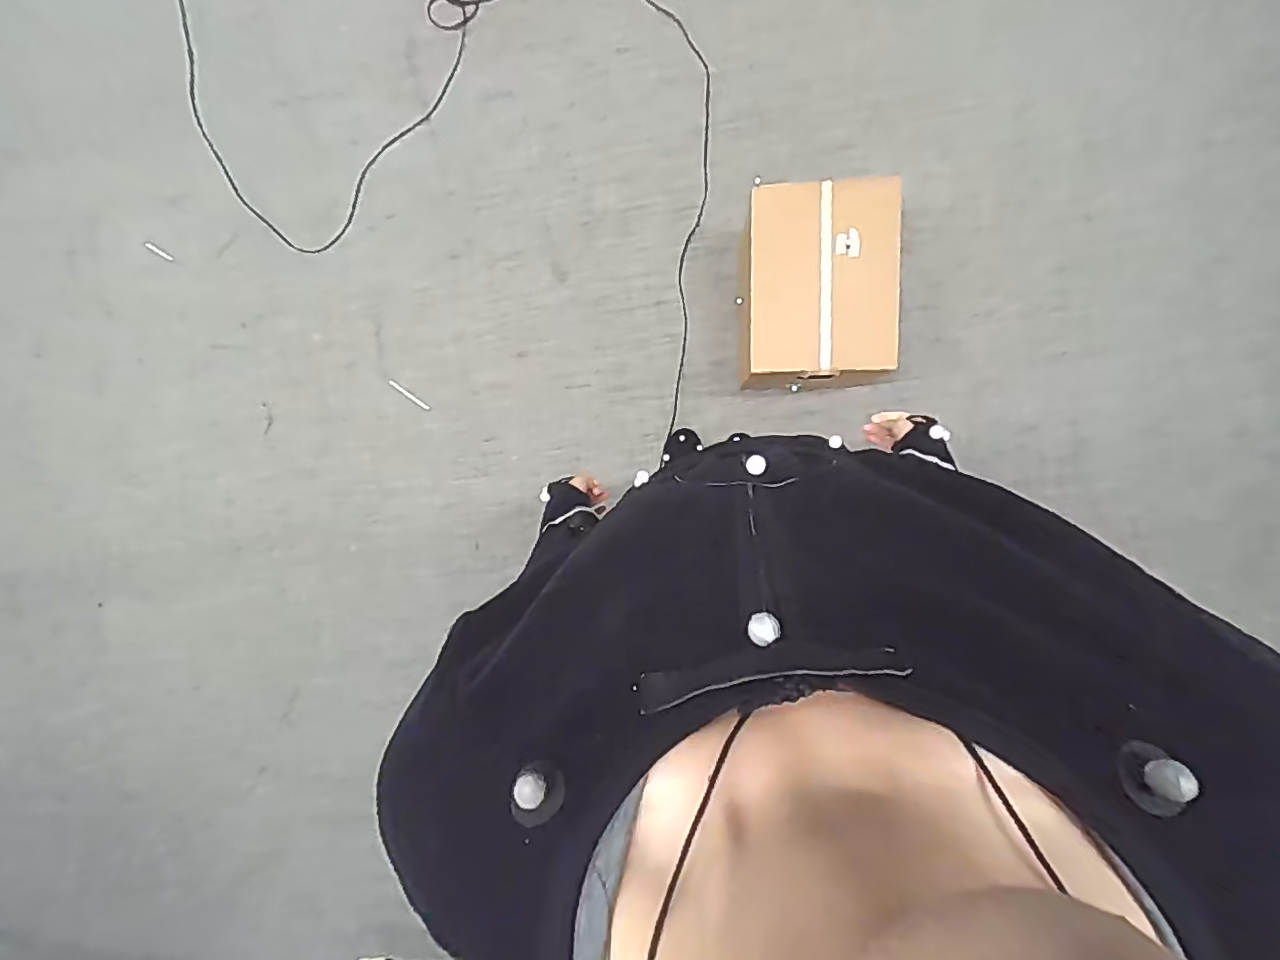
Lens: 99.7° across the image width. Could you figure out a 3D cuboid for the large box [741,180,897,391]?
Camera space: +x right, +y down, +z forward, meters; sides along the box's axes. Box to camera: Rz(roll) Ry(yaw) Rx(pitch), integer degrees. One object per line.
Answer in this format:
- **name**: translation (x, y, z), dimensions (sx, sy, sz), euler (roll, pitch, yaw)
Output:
- **large box**: translation (0.409, -0.438, 1.310), dimensions (0.320, 0.320, 0.408), euler (0, 92, 6)
